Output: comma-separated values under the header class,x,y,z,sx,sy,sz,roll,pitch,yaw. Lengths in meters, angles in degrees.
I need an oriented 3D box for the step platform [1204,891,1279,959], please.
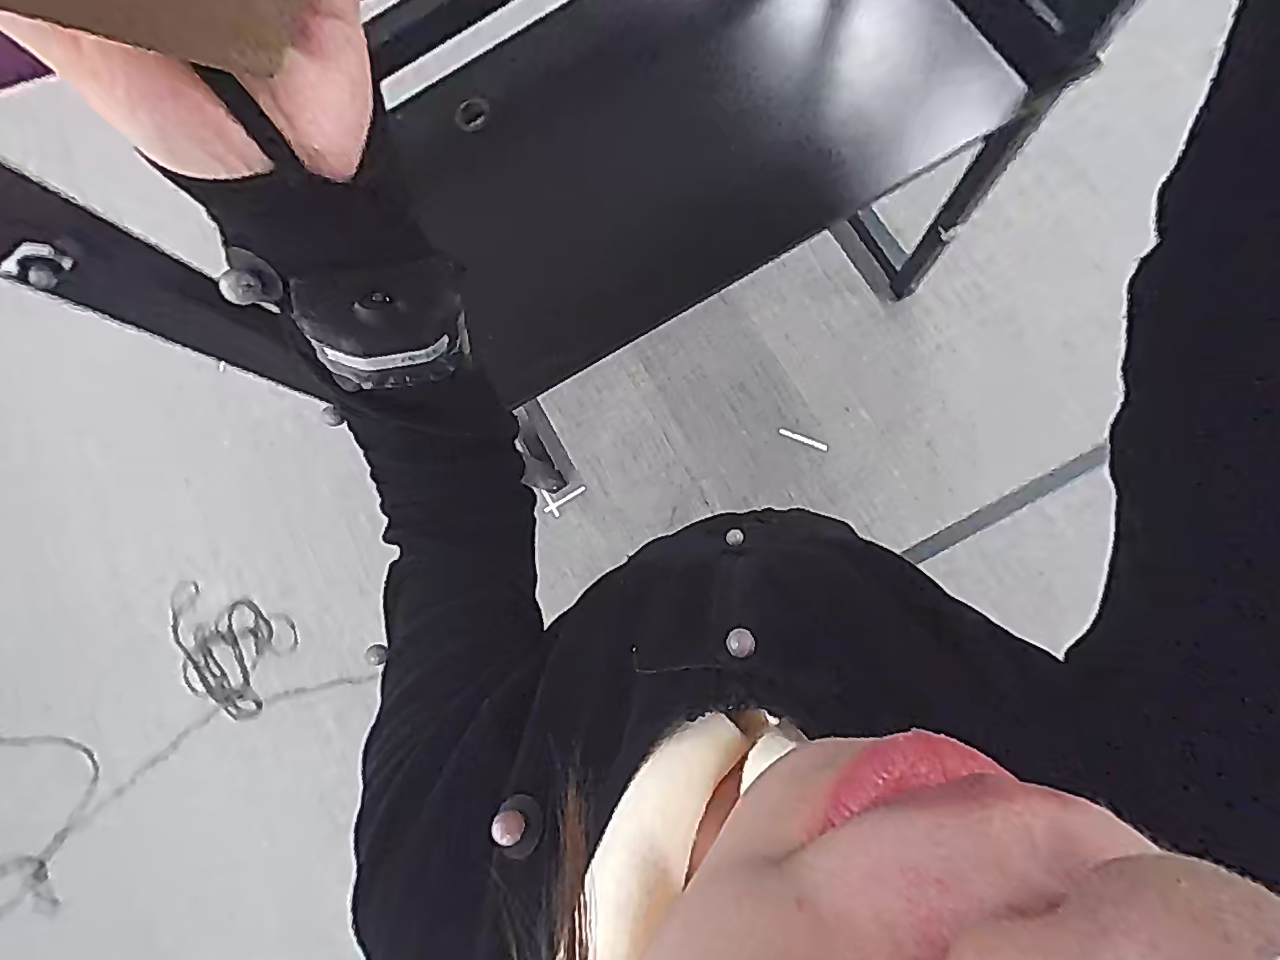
class,x,y,z,sx,sy,sz,roll,pitch,yaw
step platform,1.142,1.172,1.139,0.684,0.204,0.286,-25,79,3
